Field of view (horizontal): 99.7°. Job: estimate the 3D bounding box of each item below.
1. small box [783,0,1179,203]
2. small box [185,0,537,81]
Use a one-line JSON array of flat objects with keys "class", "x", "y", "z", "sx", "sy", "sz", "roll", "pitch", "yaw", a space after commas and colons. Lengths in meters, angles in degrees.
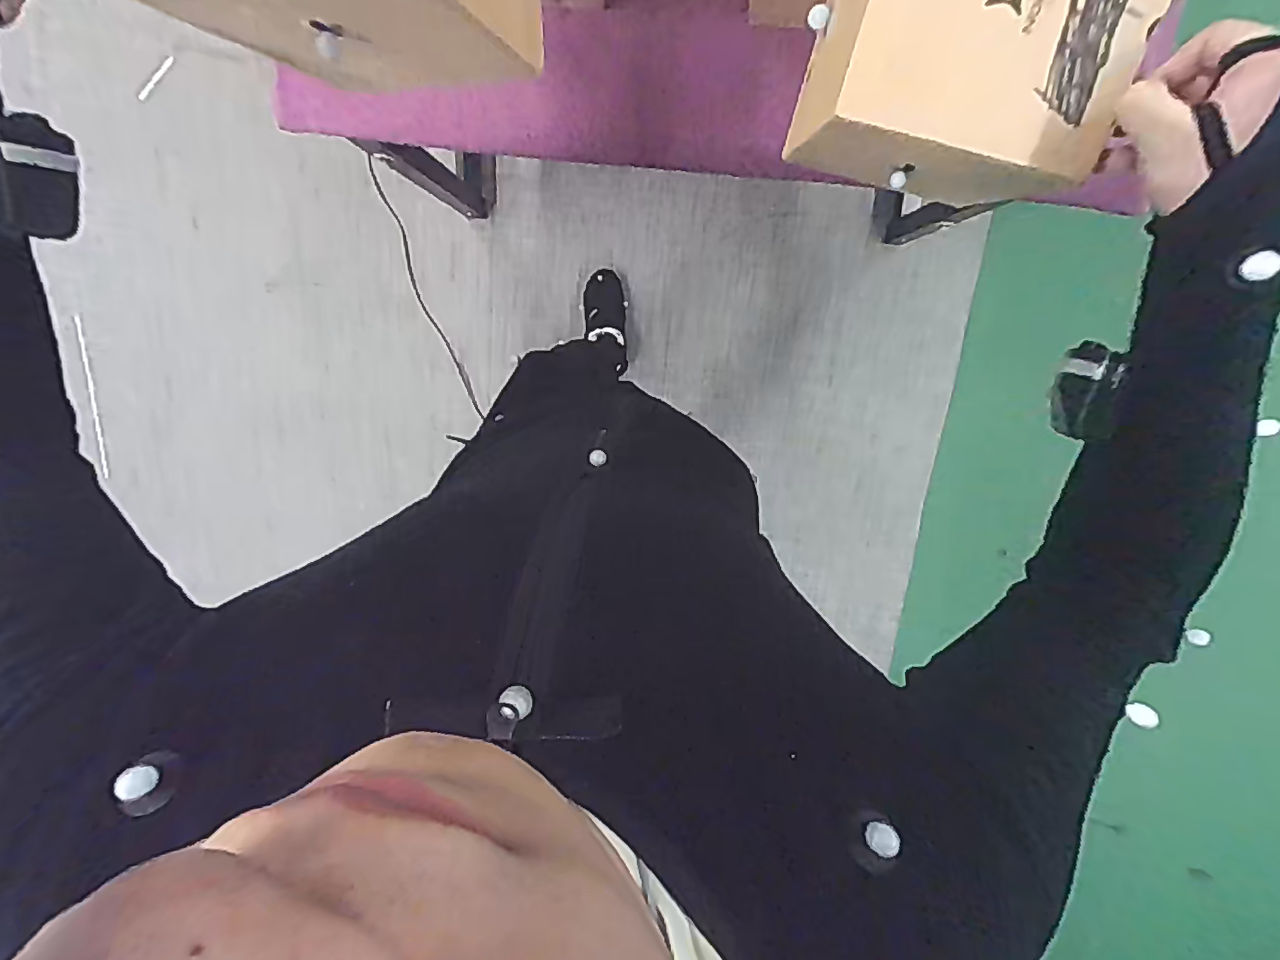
[{"class": "small box", "x": 0.223, "y": -0.308, "z": 0.383, "sx": 0.179, "sy": 0.176, "sz": 0.168, "roll": 13, "pitch": 111, "yaw": -2}, {"class": "small box", "x": -0.175, "y": -0.355, "z": 0.309, "sx": 0.179, "sy": 0.176, "sz": 0.168, "roll": 6, "pitch": 110, "yaw": 13}]
